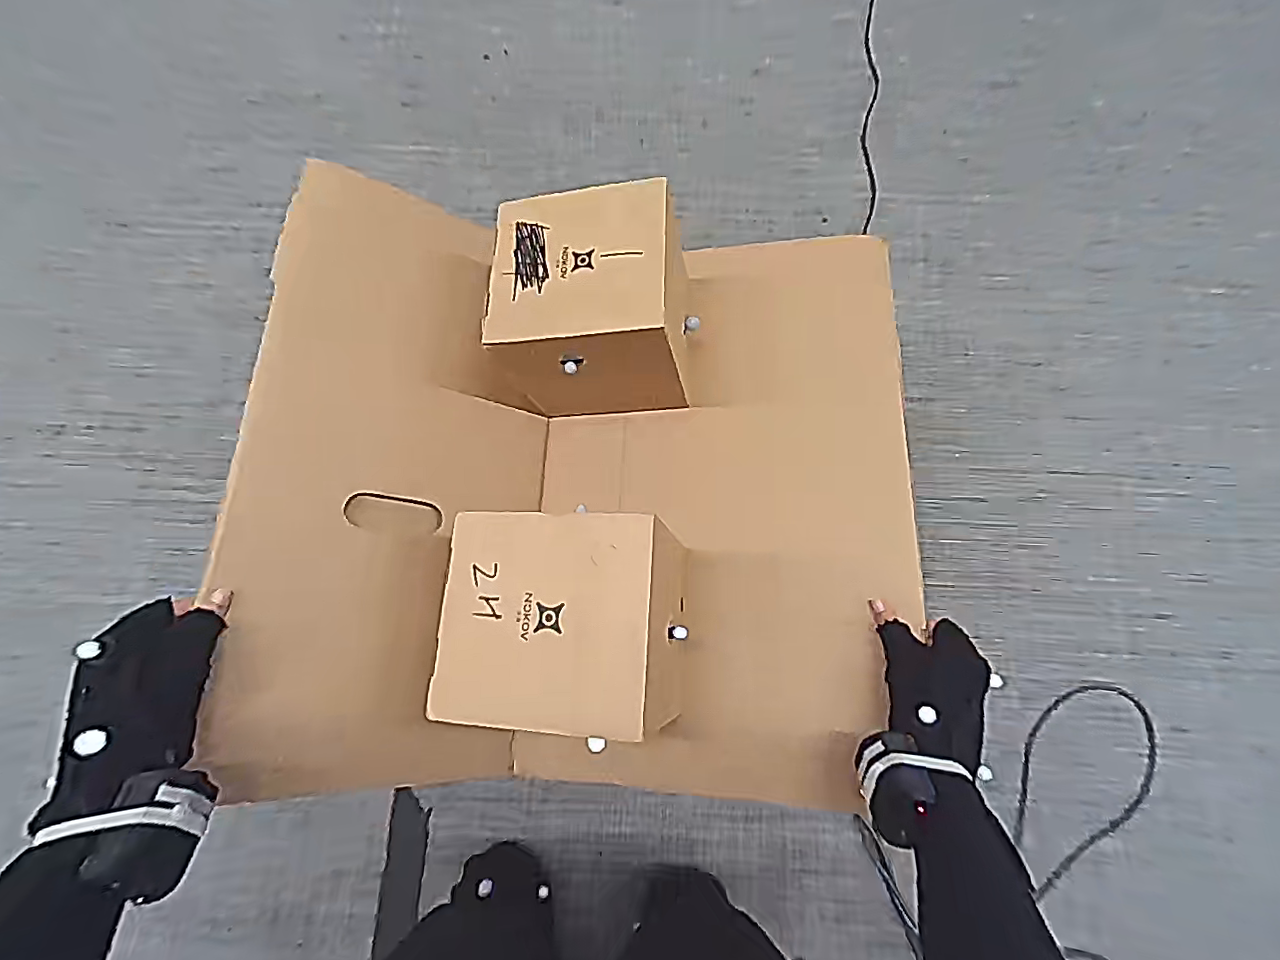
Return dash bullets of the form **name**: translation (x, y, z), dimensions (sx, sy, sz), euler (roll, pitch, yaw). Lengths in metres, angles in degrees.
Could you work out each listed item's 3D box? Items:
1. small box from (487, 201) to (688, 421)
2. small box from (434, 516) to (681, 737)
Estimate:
- **small box**: translation (-0.046, -0.173, 0.607), dimensions (0.179, 0.176, 0.168), euler (-2, 73, 12)
- **small box**: translation (-0.060, 0.134, 0.515), dimensions (0.179, 0.176, 0.168), euler (0, 73, 14)
